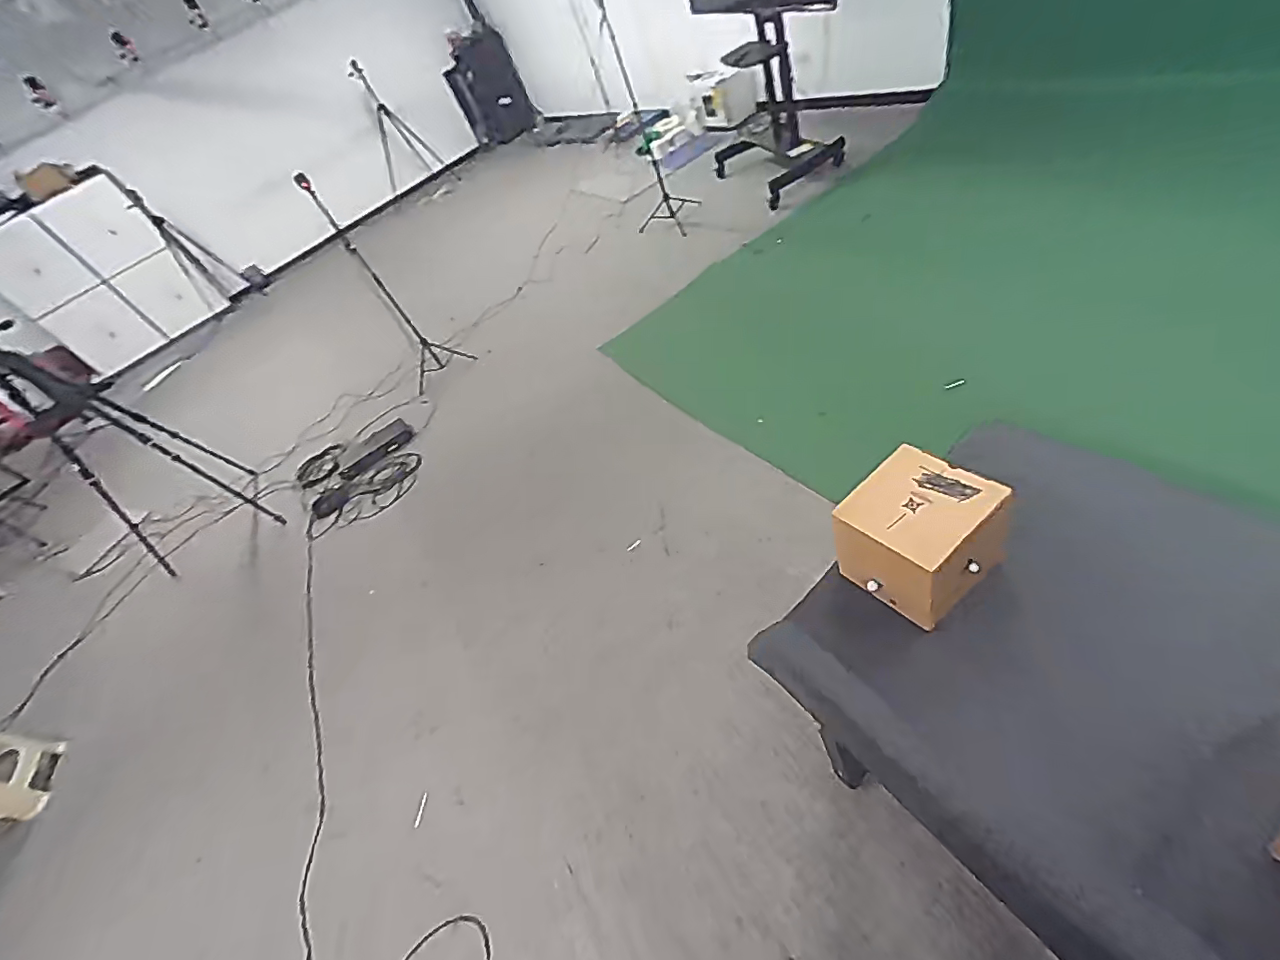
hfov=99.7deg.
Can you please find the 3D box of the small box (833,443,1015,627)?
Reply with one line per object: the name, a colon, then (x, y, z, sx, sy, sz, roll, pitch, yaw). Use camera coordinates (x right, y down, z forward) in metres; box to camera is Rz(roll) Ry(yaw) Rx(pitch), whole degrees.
small box: (0.417, 0.082, 0.812, 0.179, 0.176, 0.168, -39, 43, -13)
